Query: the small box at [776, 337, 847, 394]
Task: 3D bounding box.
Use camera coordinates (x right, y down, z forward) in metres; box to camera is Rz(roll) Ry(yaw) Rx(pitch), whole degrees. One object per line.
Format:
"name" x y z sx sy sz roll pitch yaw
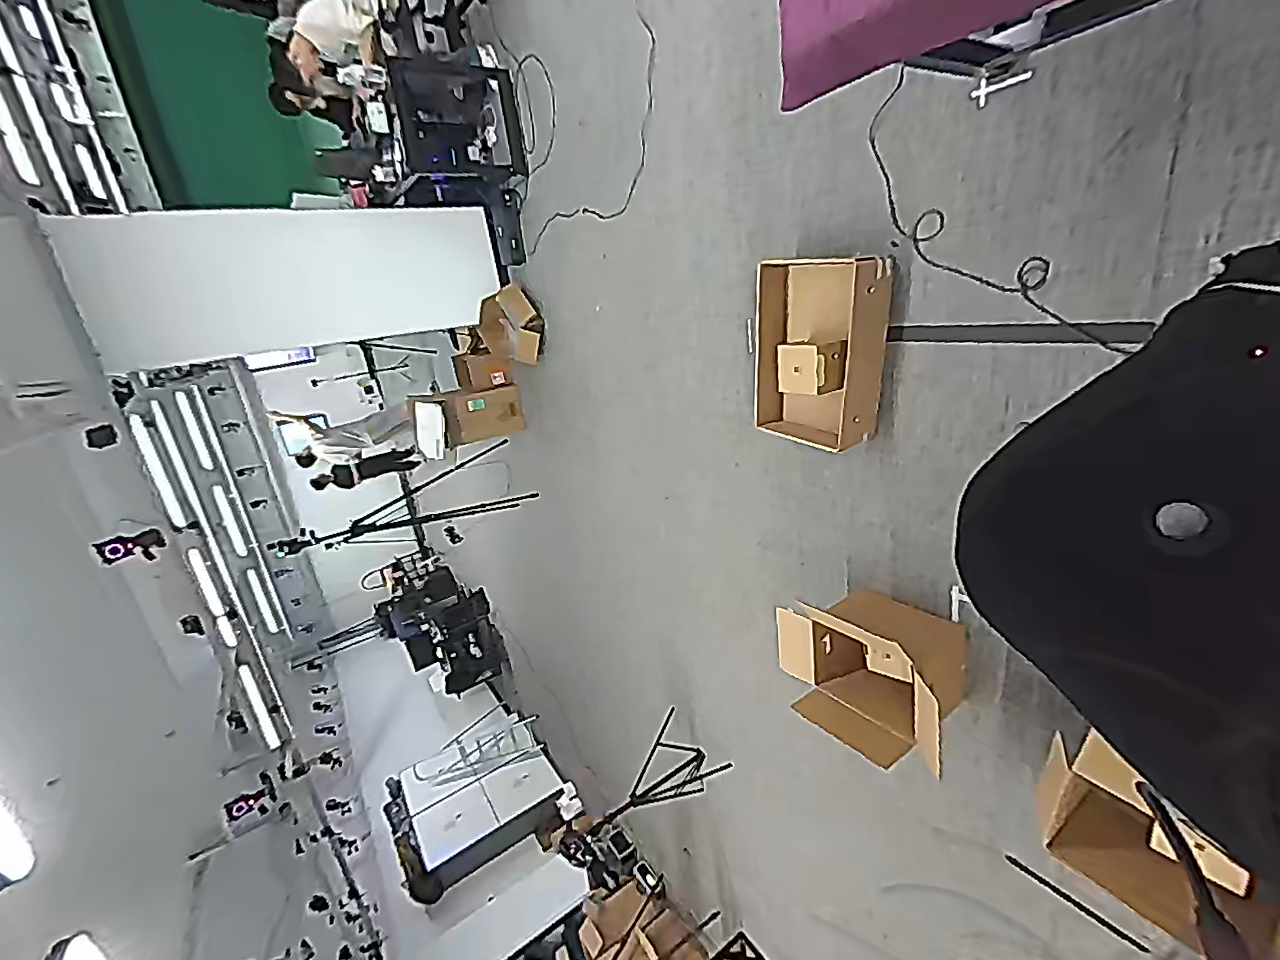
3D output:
"small box" 0.595 -0.401 1.870 0.179 0.176 0.168 21 122 53
